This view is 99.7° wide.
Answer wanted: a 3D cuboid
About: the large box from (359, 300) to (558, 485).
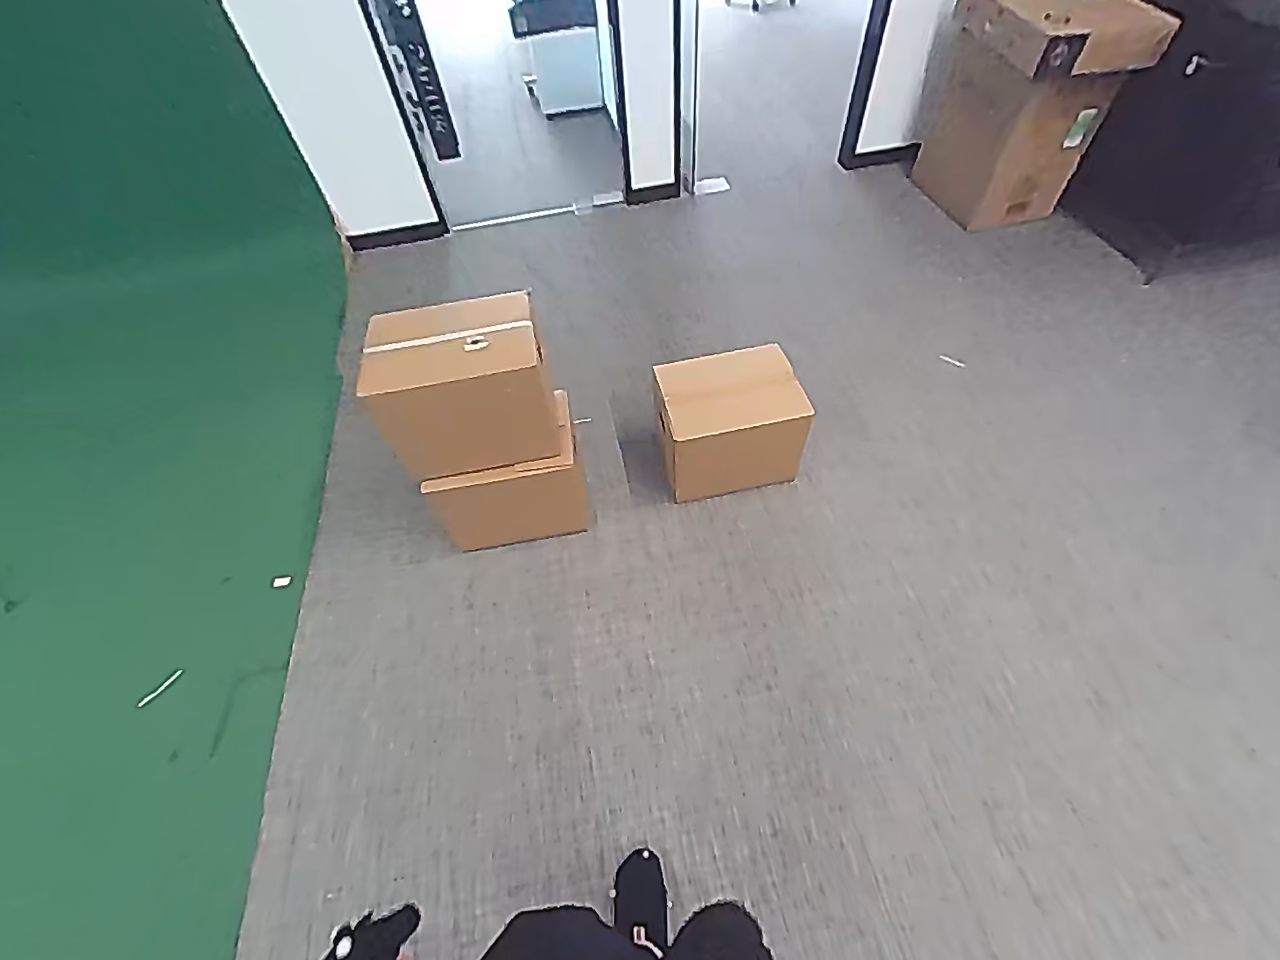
[{"bbox_3d":[-0.447,-0.226,1.411,0.408,0.320,0.320,-10,50,-4],"label":"large box"}]
